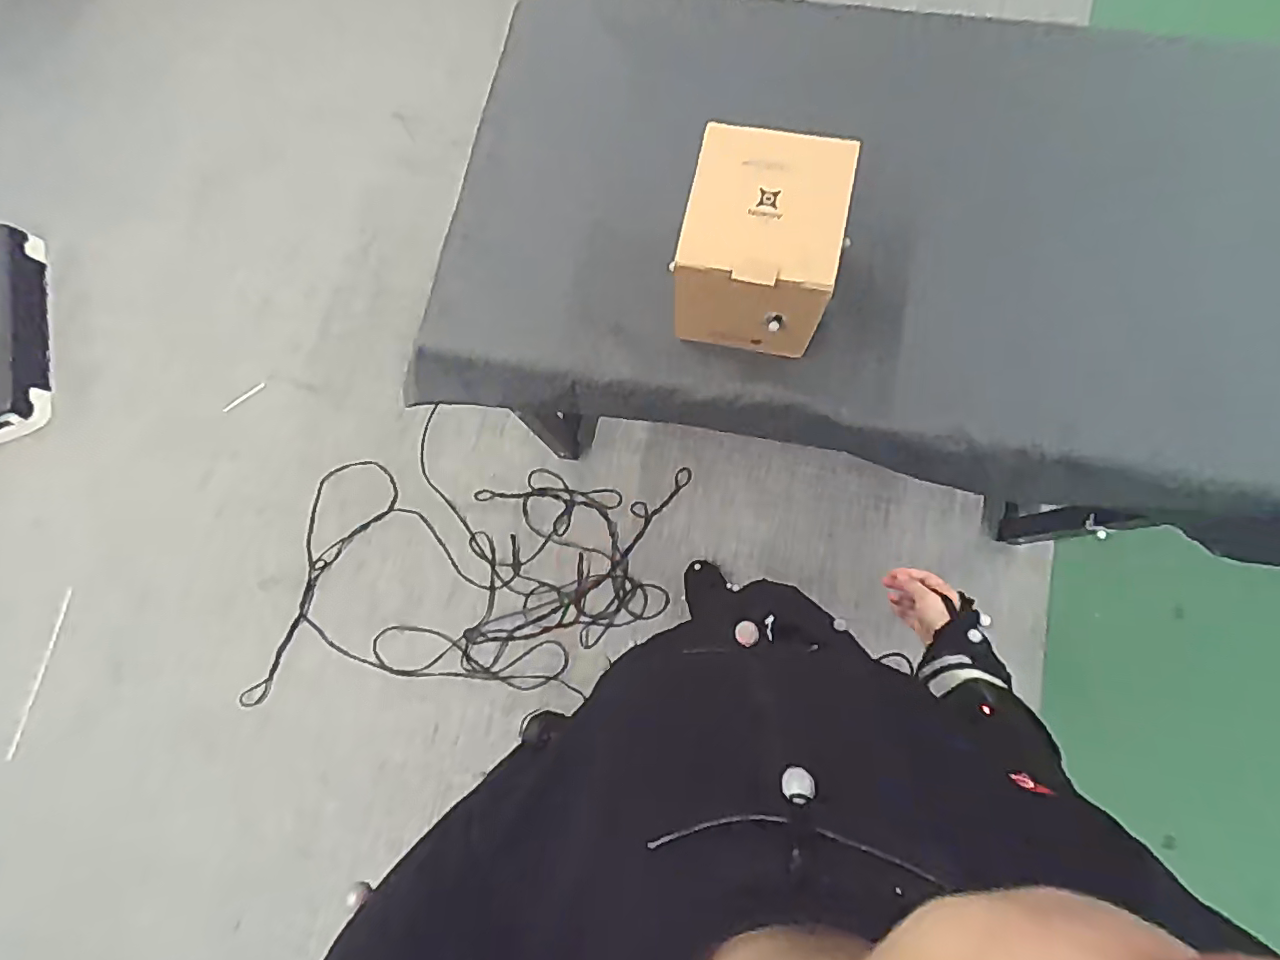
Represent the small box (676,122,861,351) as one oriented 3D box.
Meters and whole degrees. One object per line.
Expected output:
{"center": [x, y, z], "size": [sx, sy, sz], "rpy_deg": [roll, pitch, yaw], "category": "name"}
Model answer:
{"center": [0.141, -0.273, 0.639], "size": [0.168, 0.176, 0.179], "rpy_deg": [11, 79, 6], "category": "small box"}
